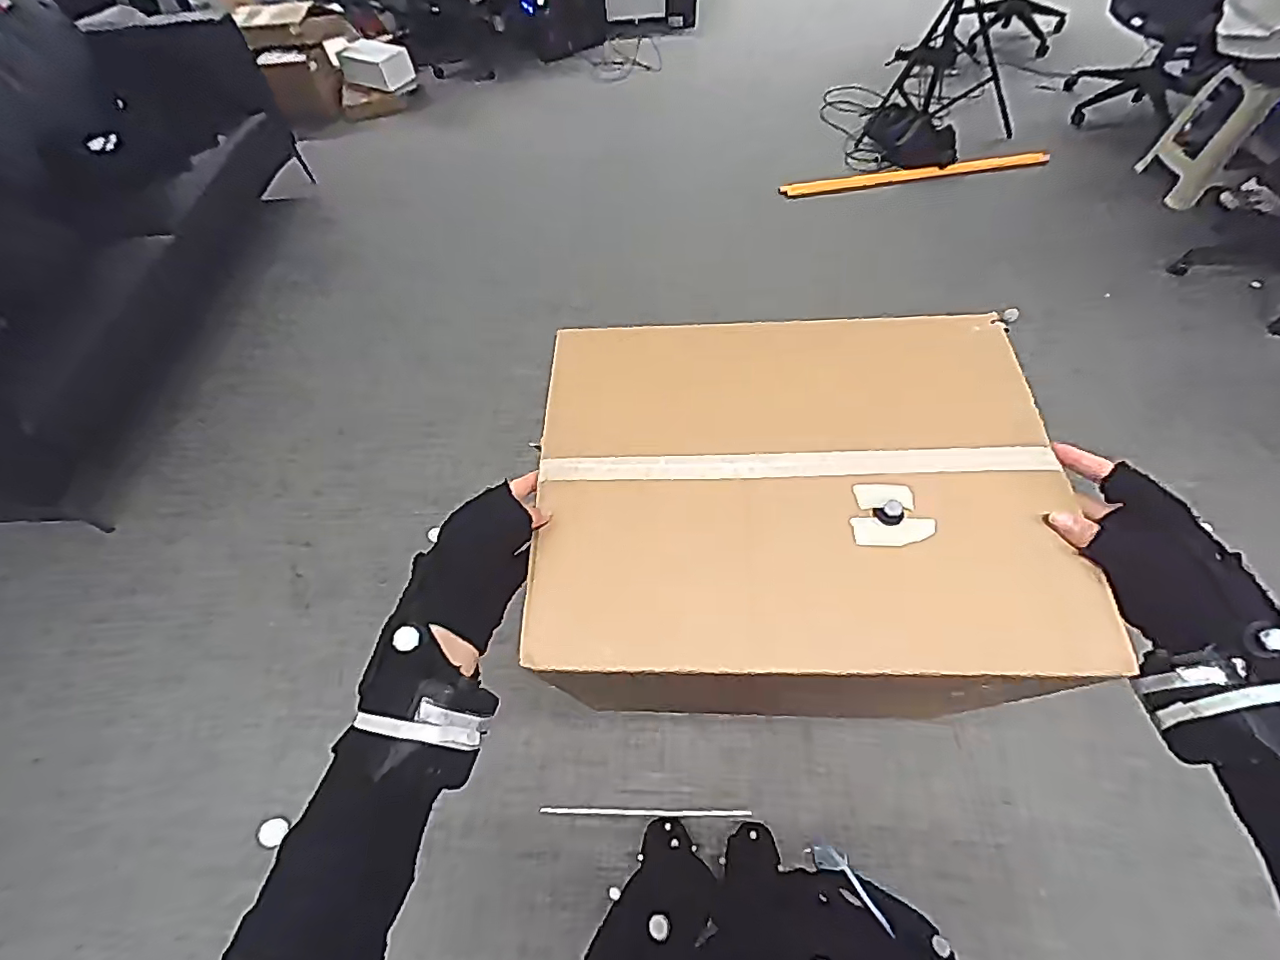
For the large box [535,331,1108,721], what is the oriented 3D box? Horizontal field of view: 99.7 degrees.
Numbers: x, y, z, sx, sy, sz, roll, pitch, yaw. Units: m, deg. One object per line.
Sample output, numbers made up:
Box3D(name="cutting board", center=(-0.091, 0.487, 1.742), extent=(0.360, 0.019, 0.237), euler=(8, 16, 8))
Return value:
Box3D(name="large box", center=(0.130, 0.073, 0.577), extent=(0.408, 0.320, 0.320), euler=(-2, 62, 4))
